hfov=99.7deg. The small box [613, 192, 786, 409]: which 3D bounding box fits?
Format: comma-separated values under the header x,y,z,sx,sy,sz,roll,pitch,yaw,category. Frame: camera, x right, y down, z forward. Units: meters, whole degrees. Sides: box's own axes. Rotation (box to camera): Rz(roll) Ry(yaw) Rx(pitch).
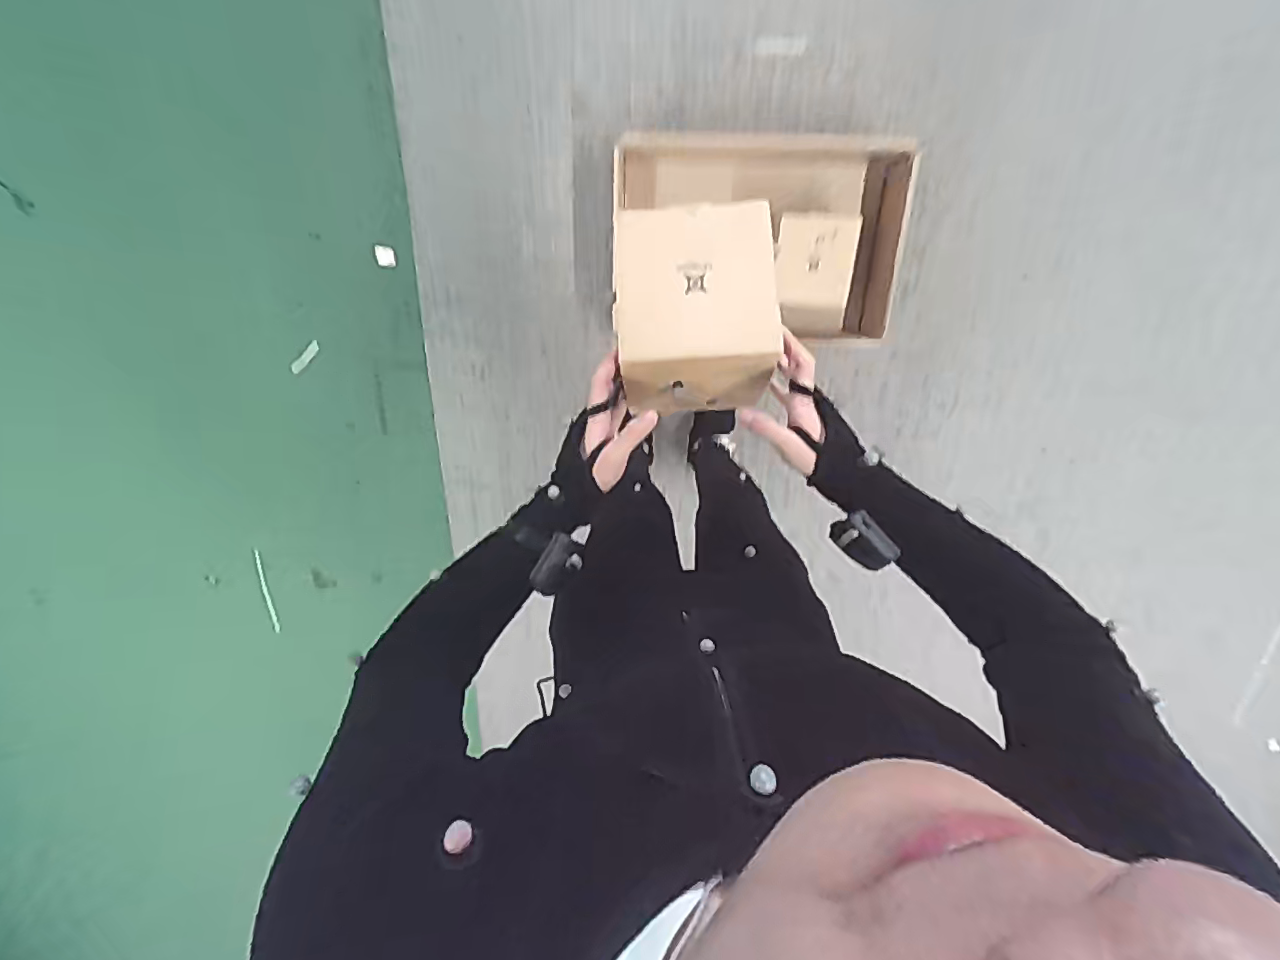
x,y,z,sx,sy,sz,roll,pitch,yaw,category
0.062,-0.186,0.612,0.168,0.176,0.179,-3,77,3,small box
